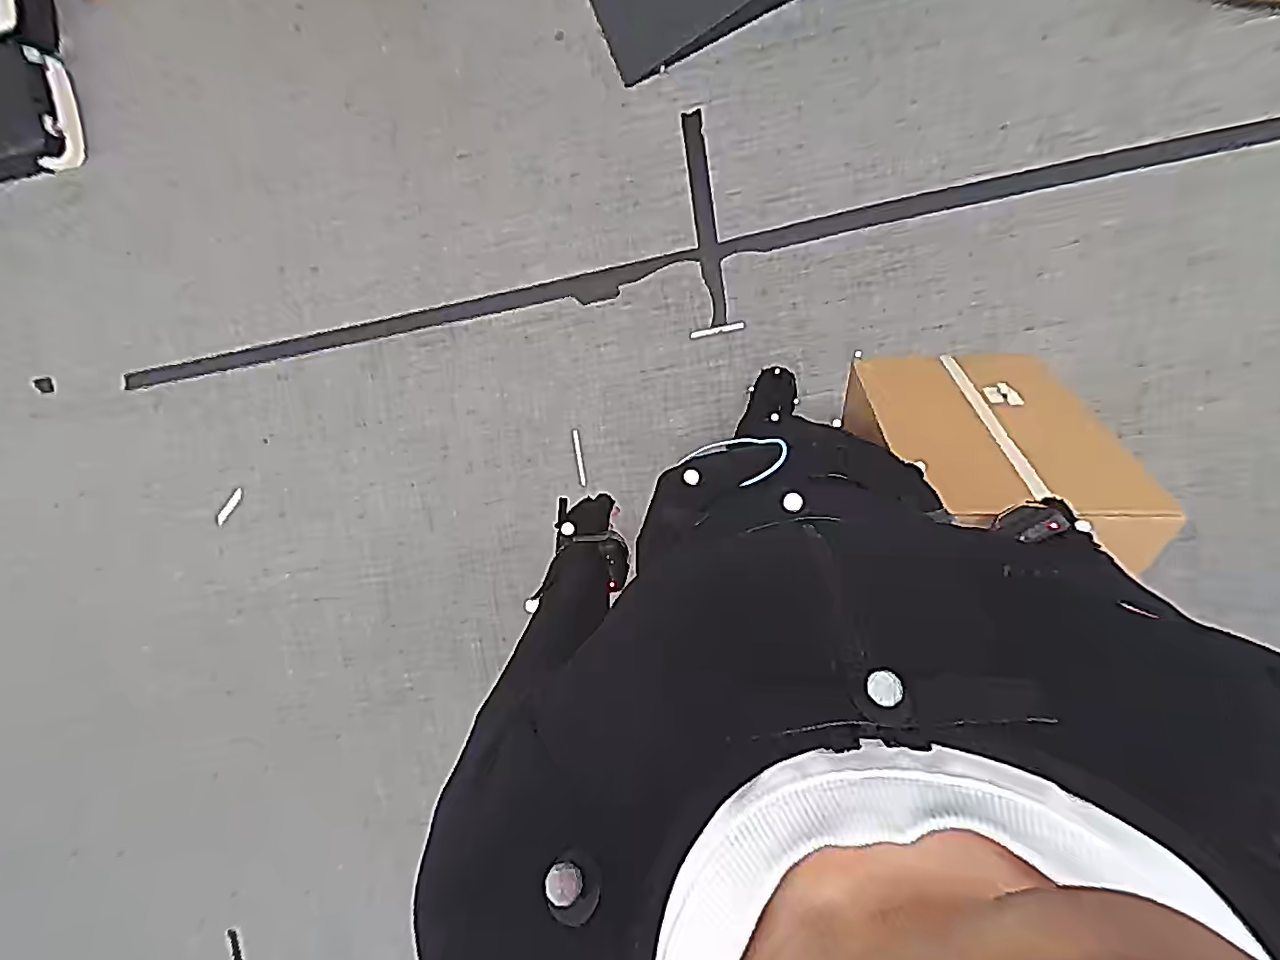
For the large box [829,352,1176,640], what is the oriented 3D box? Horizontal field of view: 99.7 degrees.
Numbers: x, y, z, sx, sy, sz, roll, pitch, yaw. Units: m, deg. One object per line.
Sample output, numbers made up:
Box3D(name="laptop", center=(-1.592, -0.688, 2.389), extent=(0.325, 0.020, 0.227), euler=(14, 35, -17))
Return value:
Box3D(name="large box", center=(0.539, 0.019, 0.926), extent=(0.320, 0.408, 0.320), euler=(0, 131, 5))
